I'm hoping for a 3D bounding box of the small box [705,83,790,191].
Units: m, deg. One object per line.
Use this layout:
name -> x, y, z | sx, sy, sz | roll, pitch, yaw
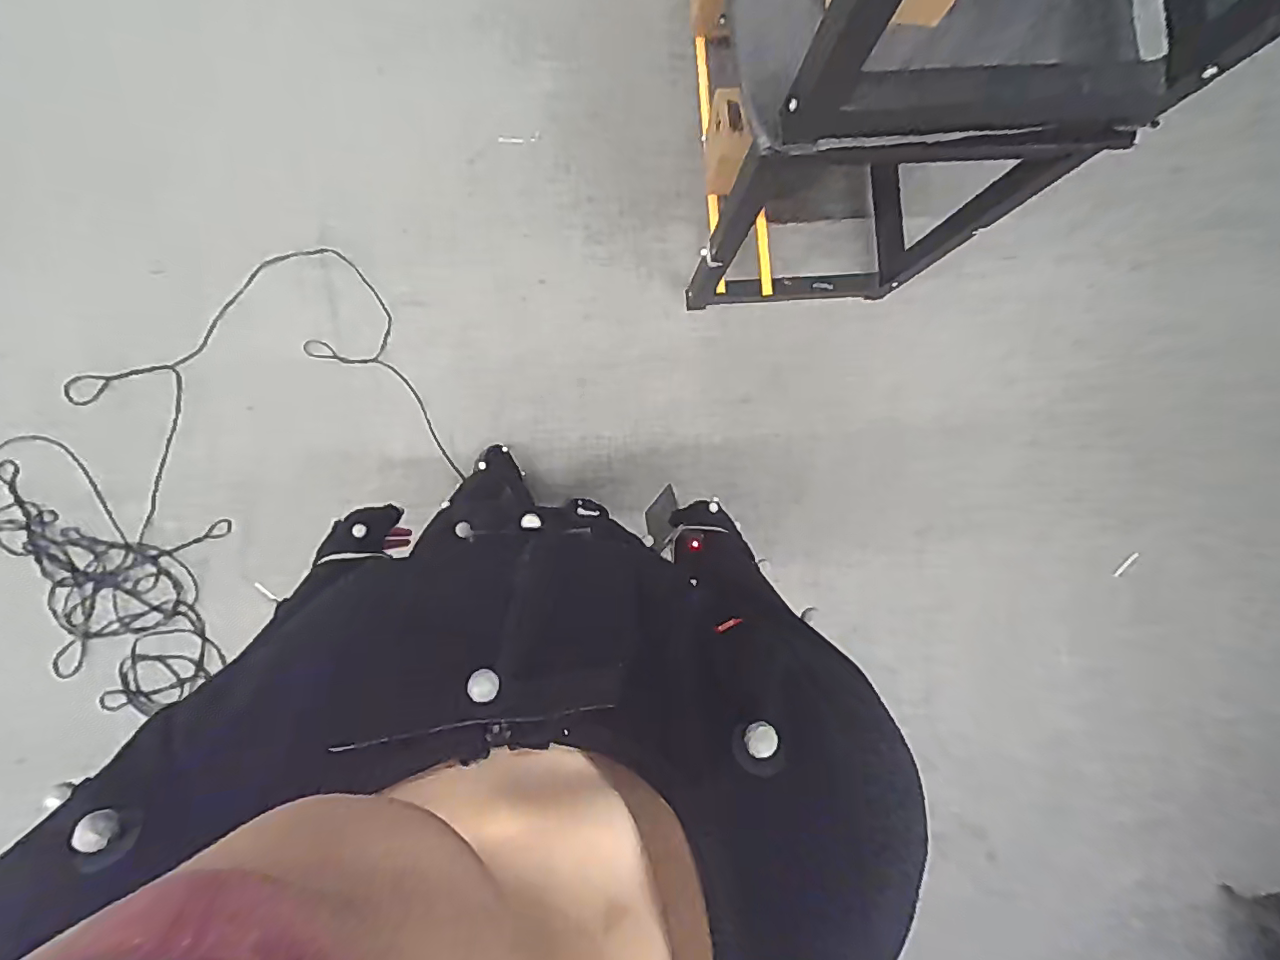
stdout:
small box -> 0.259, -0.842, 1.340 | 0.179, 0.176, 0.168 | -1, 89, -4
